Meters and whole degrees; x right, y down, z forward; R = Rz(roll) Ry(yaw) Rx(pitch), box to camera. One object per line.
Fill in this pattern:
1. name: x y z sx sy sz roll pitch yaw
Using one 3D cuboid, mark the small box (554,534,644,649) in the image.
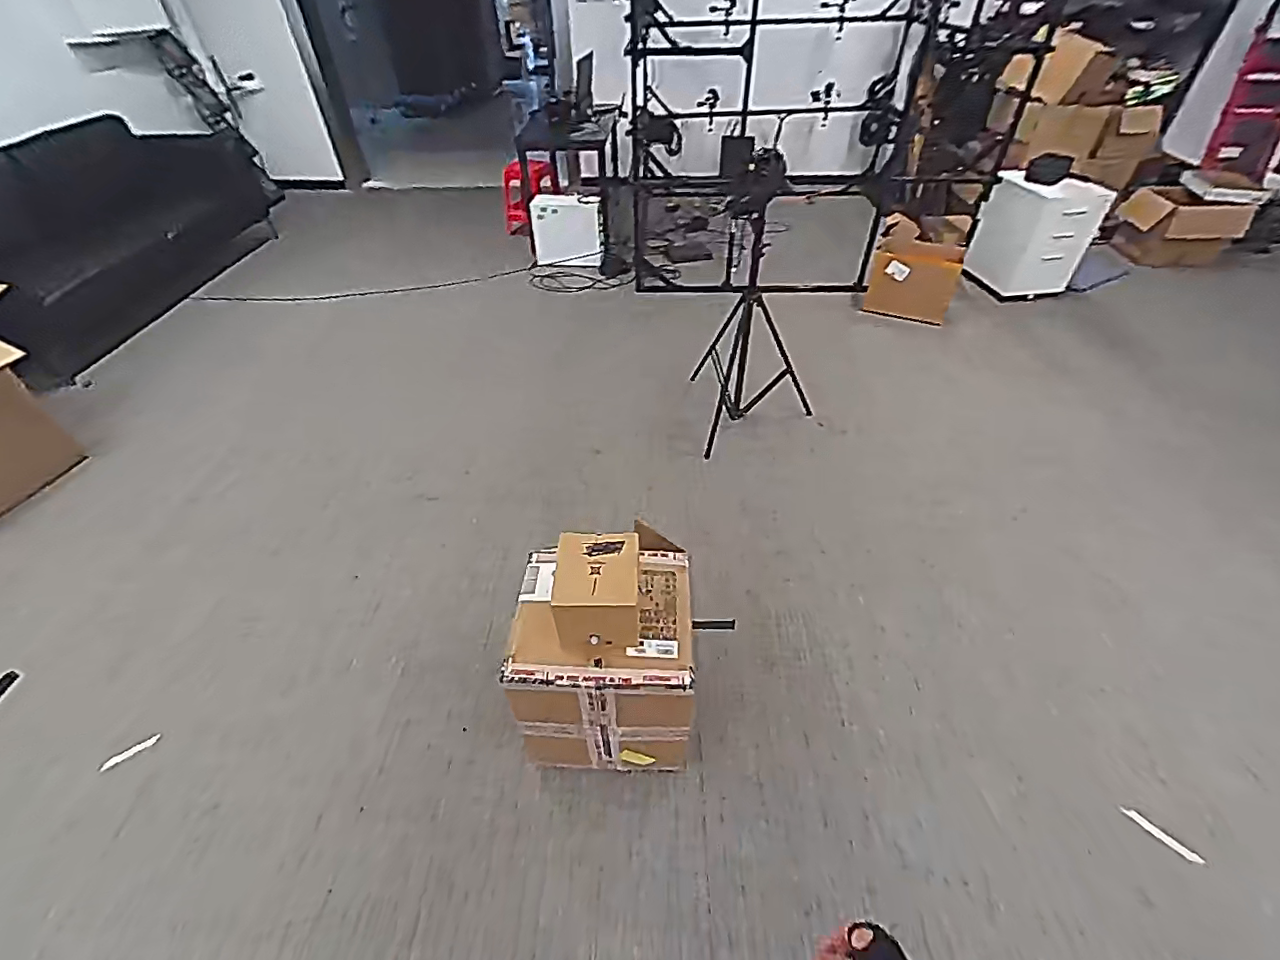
1. small box: -0.077 0.231 1.126 0.168 0.176 0.179 0 46 2
